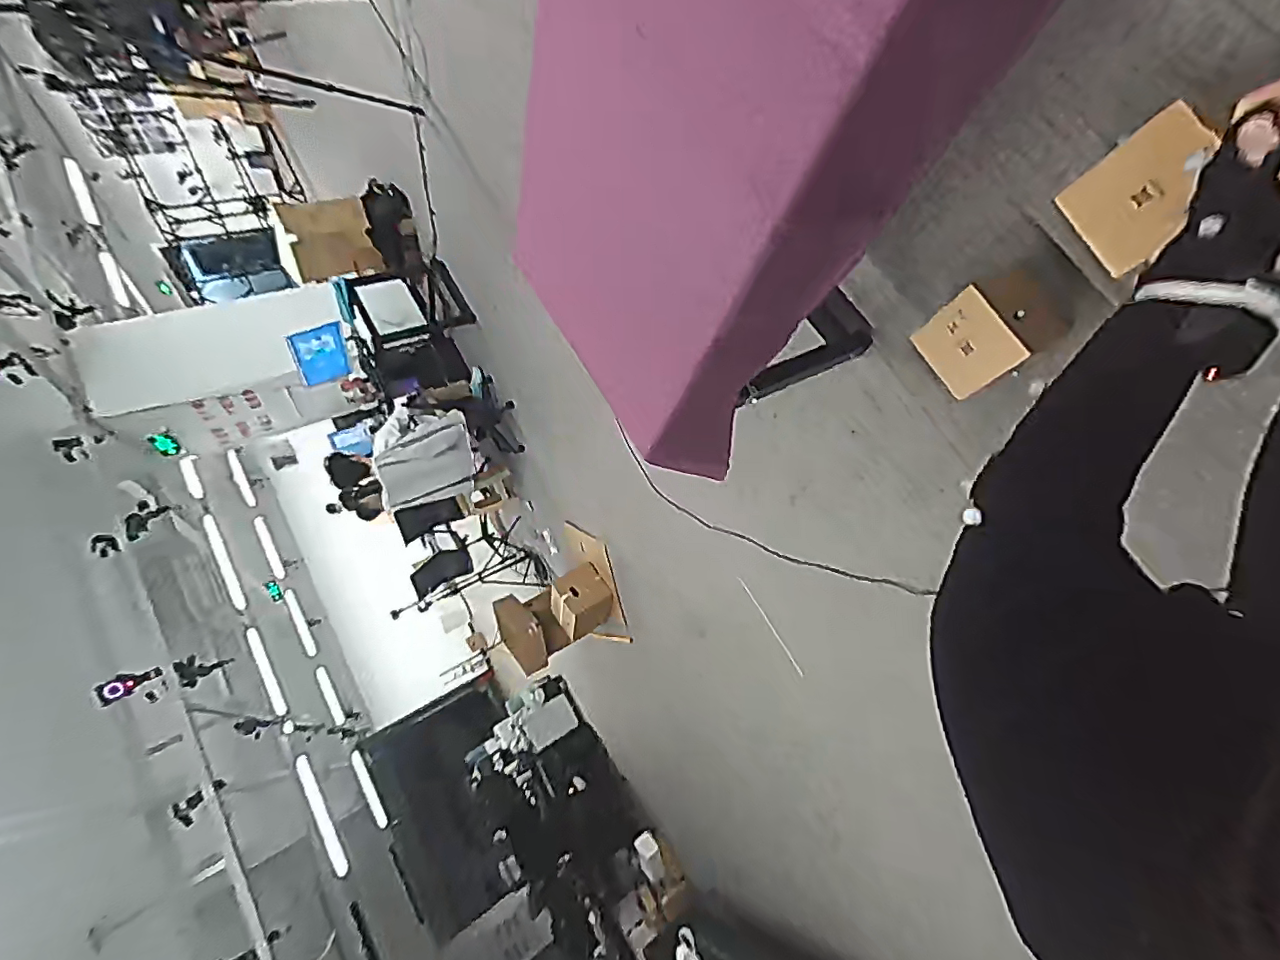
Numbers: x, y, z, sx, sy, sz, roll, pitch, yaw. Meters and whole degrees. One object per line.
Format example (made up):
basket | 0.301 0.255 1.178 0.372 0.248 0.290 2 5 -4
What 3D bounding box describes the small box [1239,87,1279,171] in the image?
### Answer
small box | 0.574 -0.287 0.333 0.179 0.176 0.168 38 174 12
